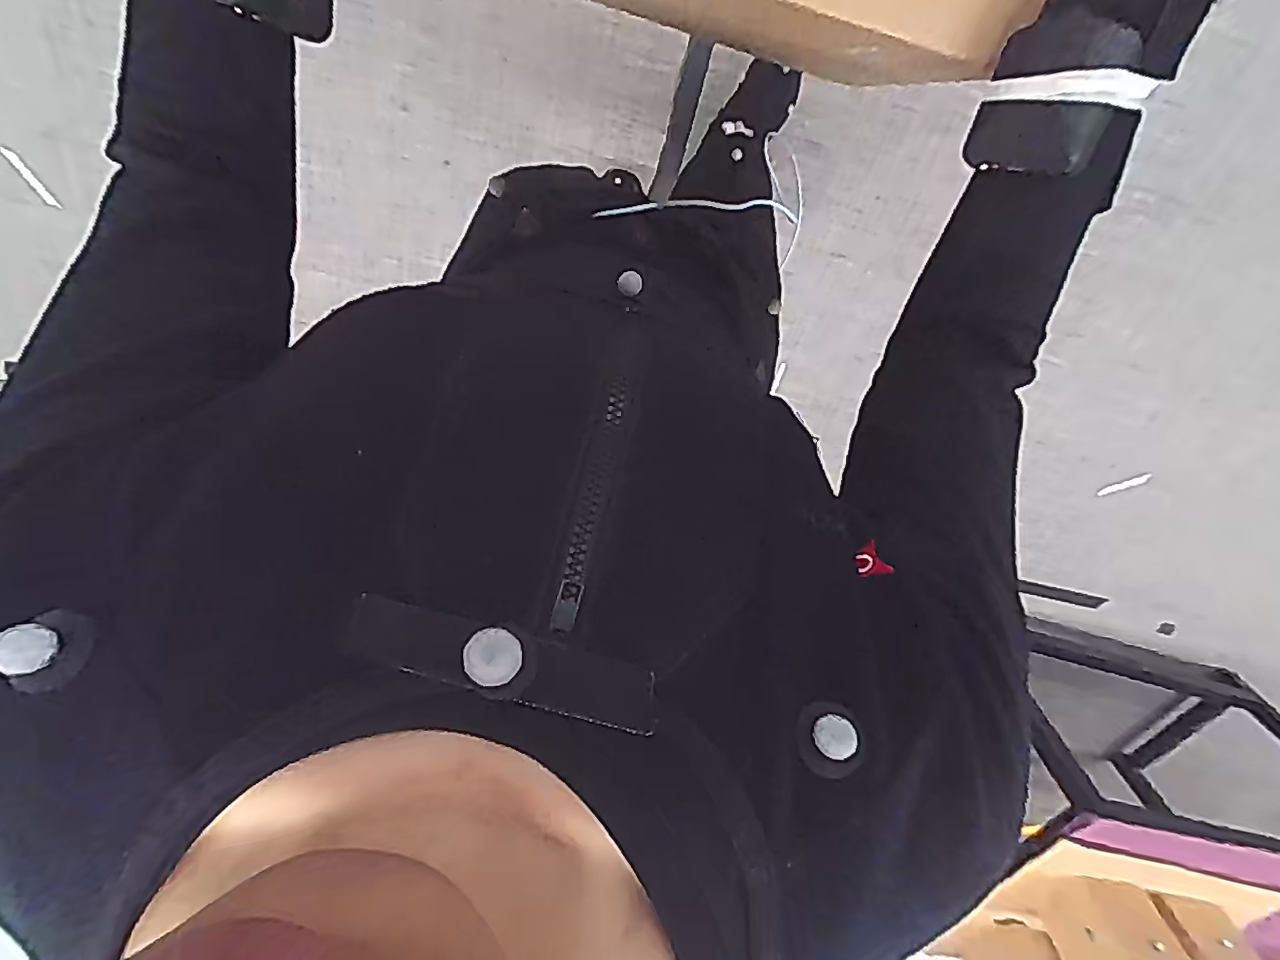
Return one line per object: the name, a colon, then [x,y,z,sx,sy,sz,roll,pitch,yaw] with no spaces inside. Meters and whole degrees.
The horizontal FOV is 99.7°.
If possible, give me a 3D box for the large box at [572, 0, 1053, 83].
large box: [0.063,-0.483,0.329,0.408,0.320,0.320,12,126,-8]
